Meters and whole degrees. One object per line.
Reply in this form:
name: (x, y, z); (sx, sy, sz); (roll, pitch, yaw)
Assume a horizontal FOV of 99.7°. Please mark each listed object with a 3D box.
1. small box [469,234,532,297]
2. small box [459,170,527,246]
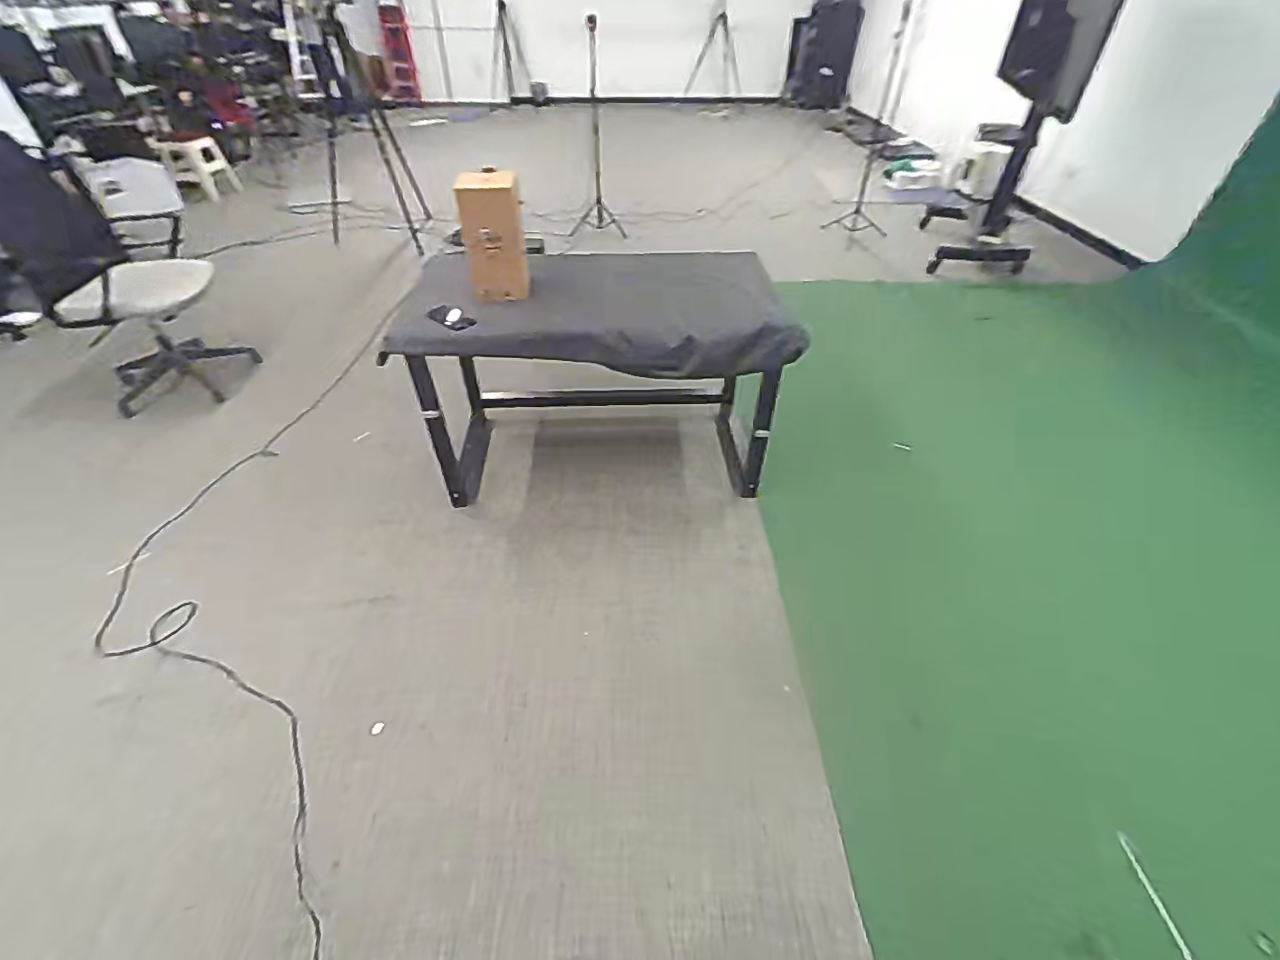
small box: (-0.440, -0.700, 1.738); (0.168, 0.176, 0.179); (-3, 42, -5)
small box: (-0.435, -0.819, 1.629); (0.168, 0.176, 0.179); (-4, 44, -5)
